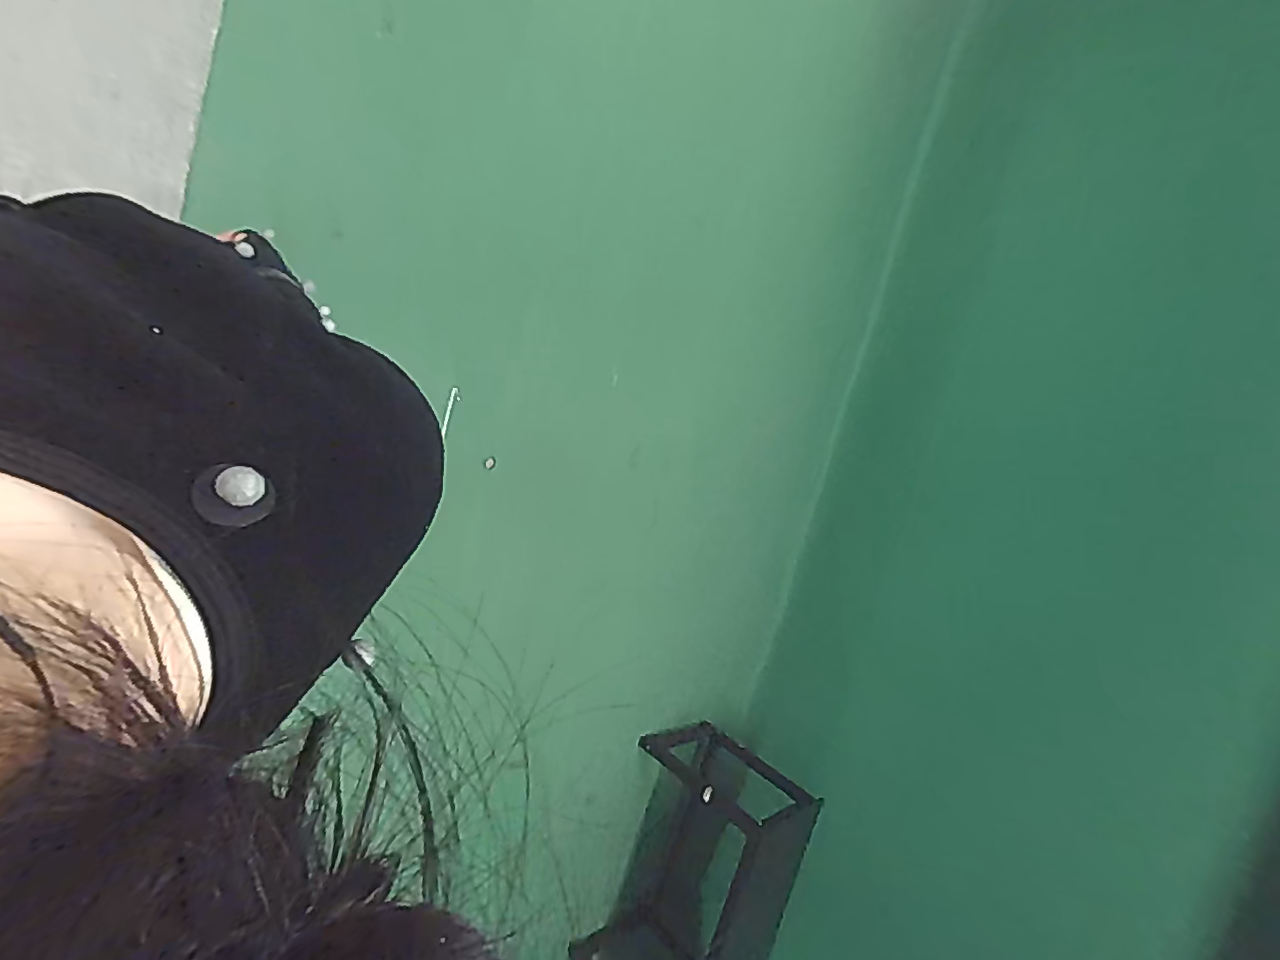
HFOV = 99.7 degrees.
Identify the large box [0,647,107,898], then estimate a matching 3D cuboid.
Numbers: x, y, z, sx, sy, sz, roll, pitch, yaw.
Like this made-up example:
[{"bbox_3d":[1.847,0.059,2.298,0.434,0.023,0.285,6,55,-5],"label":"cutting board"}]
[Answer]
[{"bbox_3d":[-1.251,0.554,0.953,0.408,0.320,0.320,-9,112,-45],"label":"large box"}]
